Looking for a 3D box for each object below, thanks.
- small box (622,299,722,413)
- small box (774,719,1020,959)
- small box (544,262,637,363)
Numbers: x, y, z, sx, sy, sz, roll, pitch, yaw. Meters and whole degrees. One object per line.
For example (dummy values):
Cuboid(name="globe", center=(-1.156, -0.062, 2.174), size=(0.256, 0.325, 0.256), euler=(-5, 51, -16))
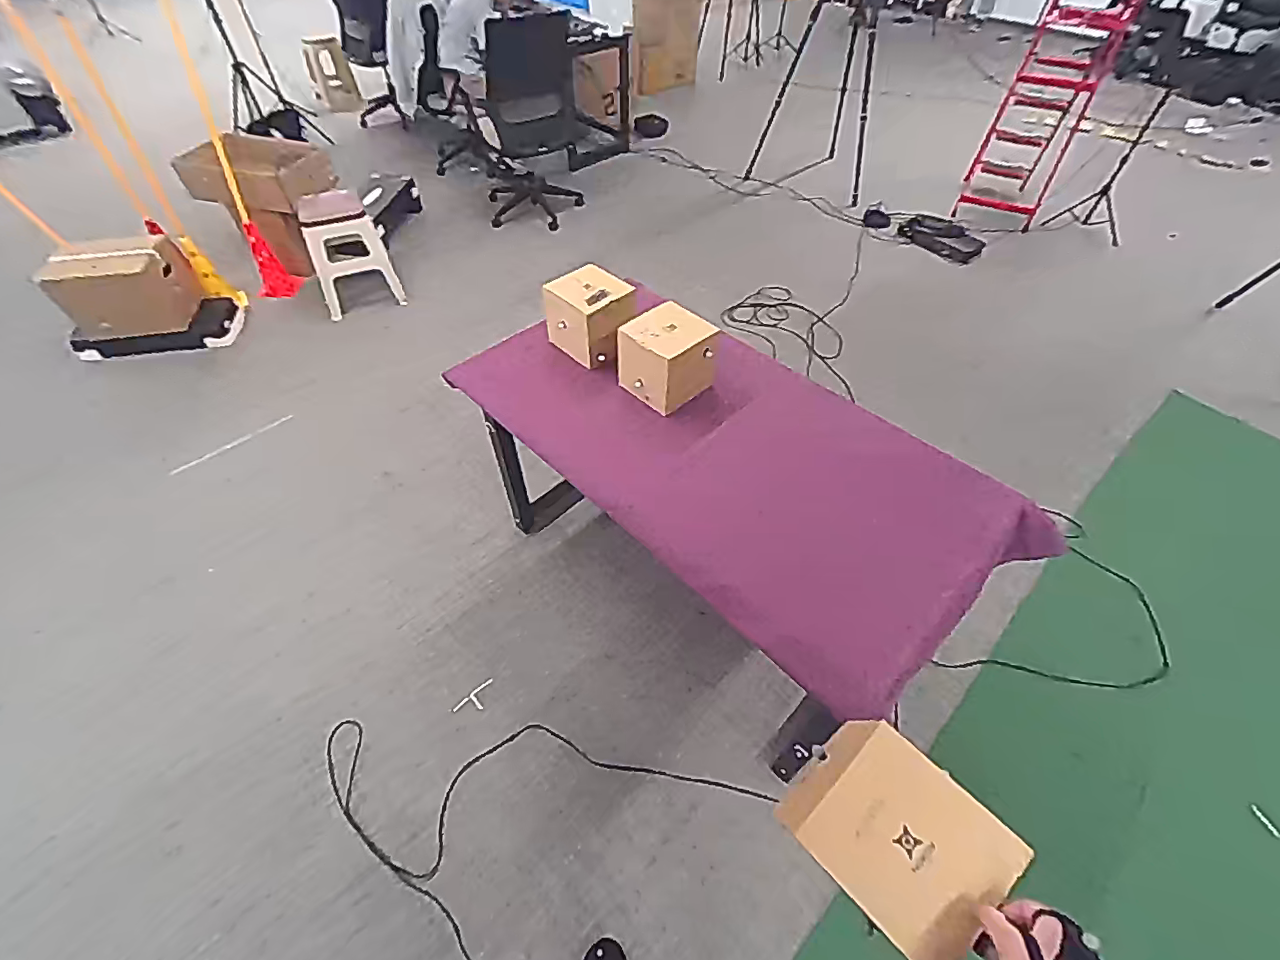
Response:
Cuboid(name="small box", center=(0.070, -0.295, 1.293), size=(0.179, 0.176, 0.168), euler=(-36, 59, -26))
Cuboid(name="small box", center=(0.286, 0.408, 0.644), size=(0.168, 0.176, 0.179), euler=(-43, 69, -14))
Cuboid(name="small box", center=(-0.123, -0.426, 1.397), size=(0.168, 0.176, 0.179), euler=(-36, 59, -27))
